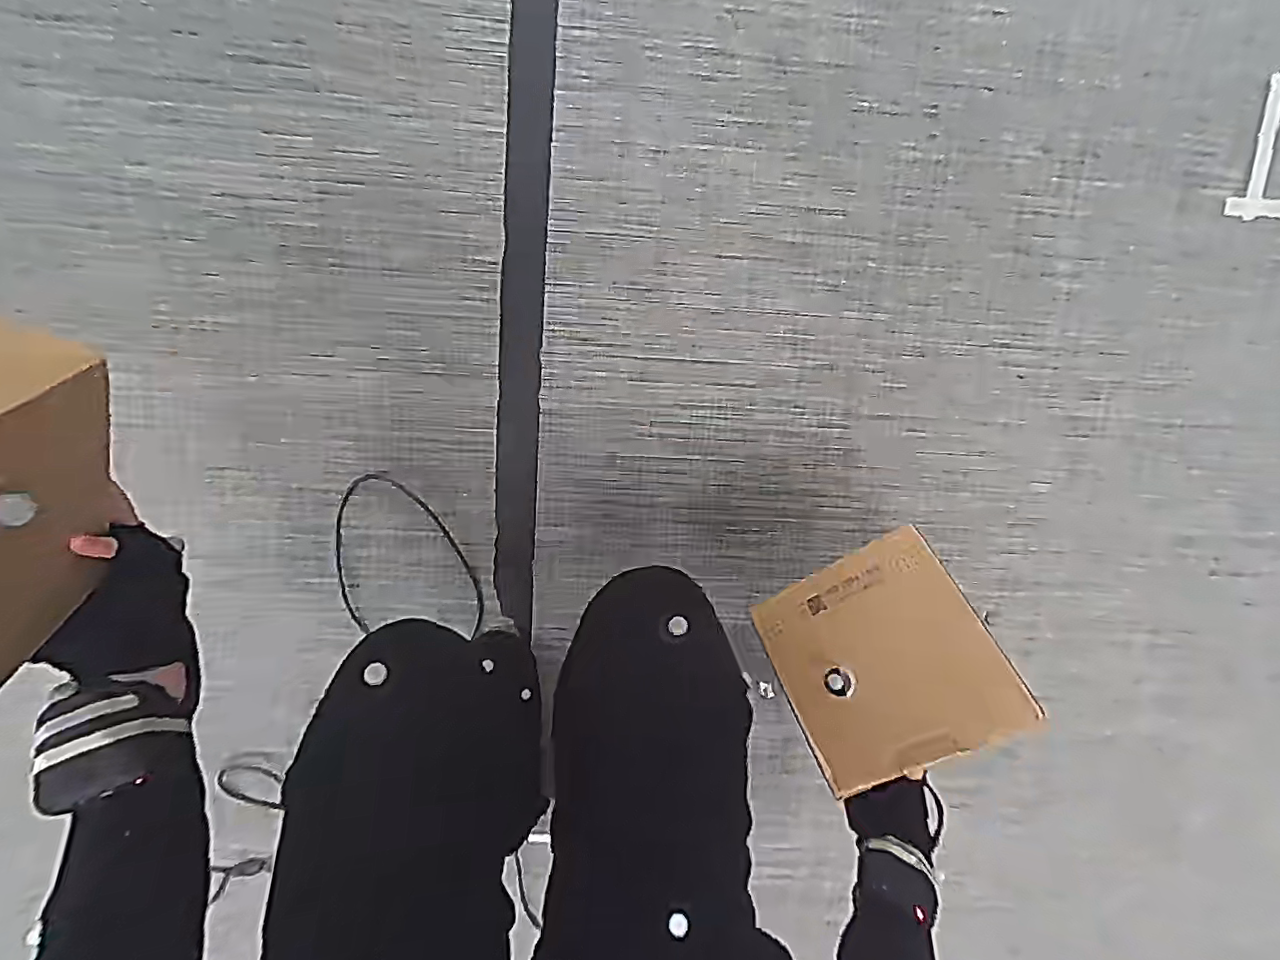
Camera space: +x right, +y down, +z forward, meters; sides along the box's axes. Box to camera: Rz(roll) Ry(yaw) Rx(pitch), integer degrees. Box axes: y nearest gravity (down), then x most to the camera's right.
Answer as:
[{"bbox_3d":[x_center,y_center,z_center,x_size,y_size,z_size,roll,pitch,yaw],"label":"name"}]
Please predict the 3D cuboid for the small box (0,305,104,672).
[{"bbox_3d":[-0.369,0.014,0.213,0.168,0.179,0.176,19,118,-21],"label":"small box"}]

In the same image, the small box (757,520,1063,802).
[{"bbox_3d":[0.232,0.154,0.485,0.168,0.179,0.176,-35,59,21],"label":"small box"}]
